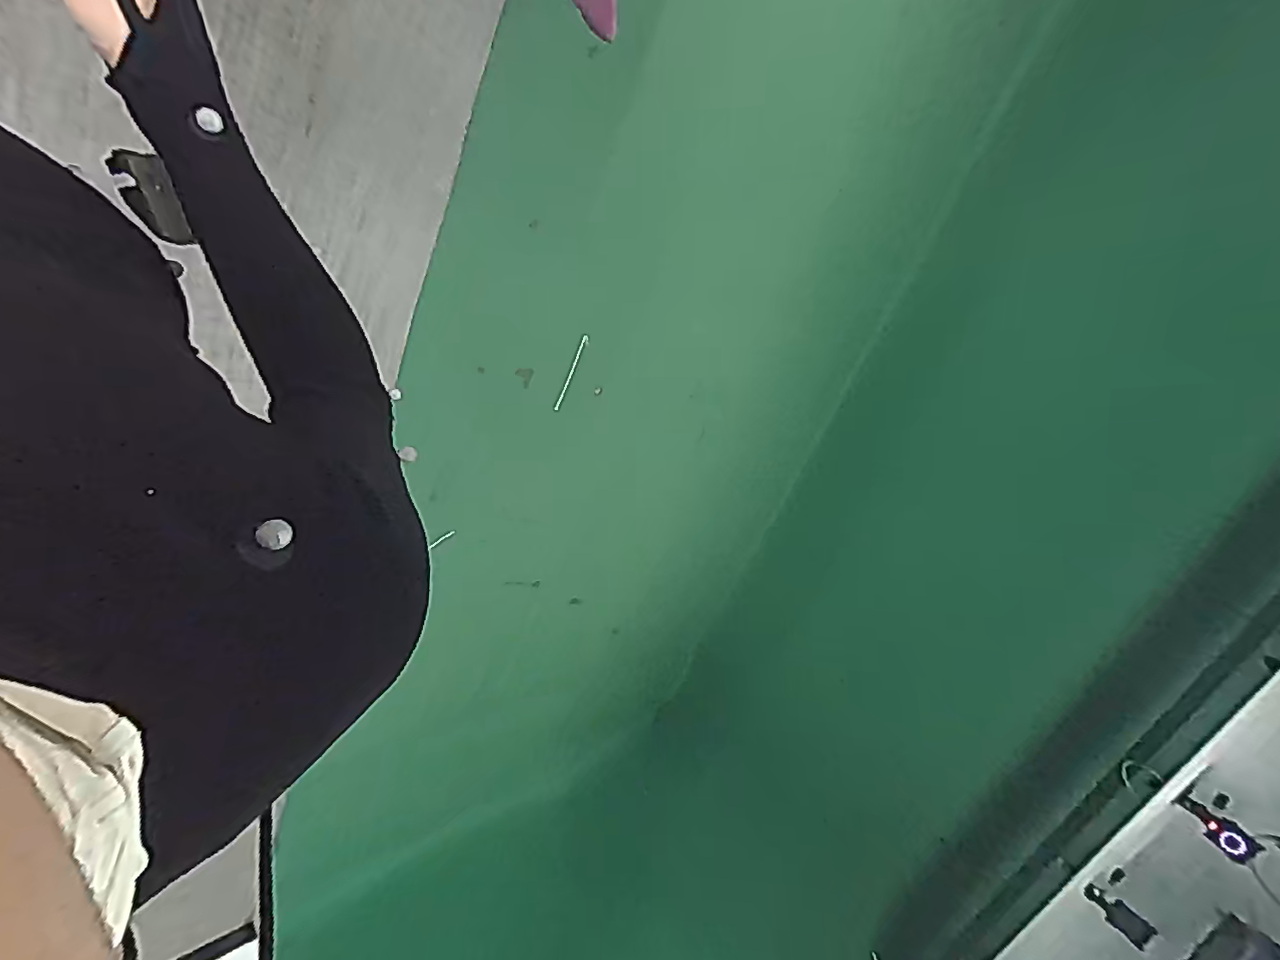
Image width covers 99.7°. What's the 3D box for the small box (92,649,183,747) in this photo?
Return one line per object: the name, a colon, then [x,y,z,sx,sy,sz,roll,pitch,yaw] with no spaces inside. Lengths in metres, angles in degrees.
small box: [-1.410,0.597,1.514,0.168,0.176,0.179,2,118,-49]
